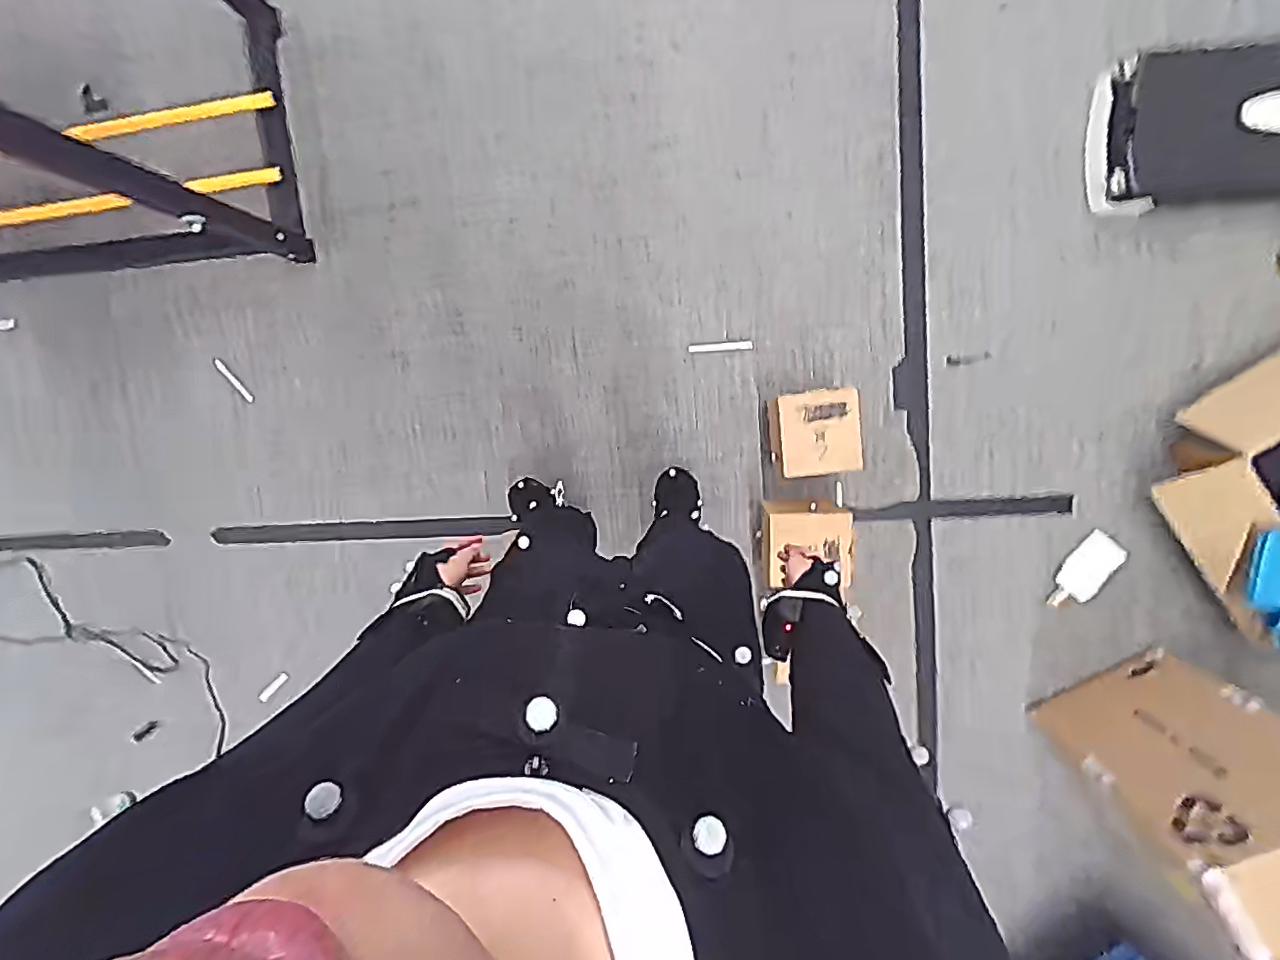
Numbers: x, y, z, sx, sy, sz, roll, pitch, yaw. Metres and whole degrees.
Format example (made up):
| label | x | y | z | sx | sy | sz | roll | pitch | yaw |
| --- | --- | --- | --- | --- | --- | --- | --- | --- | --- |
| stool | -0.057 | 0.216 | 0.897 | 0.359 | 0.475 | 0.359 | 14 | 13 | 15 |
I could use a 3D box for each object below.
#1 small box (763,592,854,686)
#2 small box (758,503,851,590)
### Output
| label | x | y | z | sx | sy | sz | roll | pitch | yaw |
| --- | --- | --- | --- | --- | --- | --- | --- | --- | --- |
| small box | 0.394 | 0.371 | 1.285 | 0.179 | 0.176 | 0.168 | -3 | 98 | 6 |
| small box | 0.373 | 0.148 | 1.252 | 0.179 | 0.176 | 0.168 | 0 | 98 | 6 |
